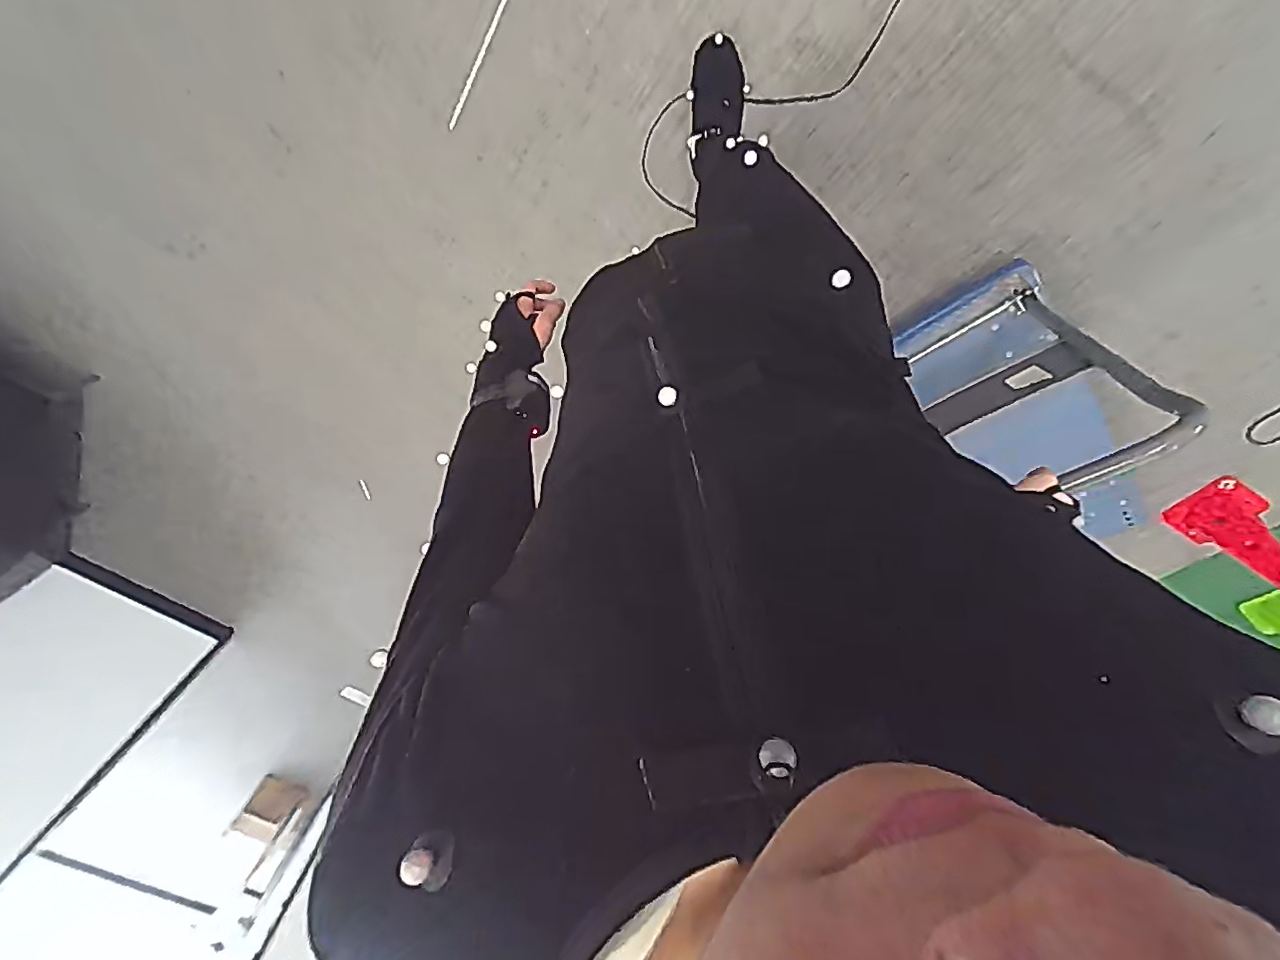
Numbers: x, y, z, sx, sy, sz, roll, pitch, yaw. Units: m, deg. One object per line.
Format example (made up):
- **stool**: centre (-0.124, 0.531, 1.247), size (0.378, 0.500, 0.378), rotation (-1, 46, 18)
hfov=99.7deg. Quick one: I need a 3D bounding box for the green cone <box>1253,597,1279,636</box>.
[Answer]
- **green cone**: centre (2.103, 0.514, 1.602), size (0.202, 0.368, 0.200), rotation (34, 124, -16)
